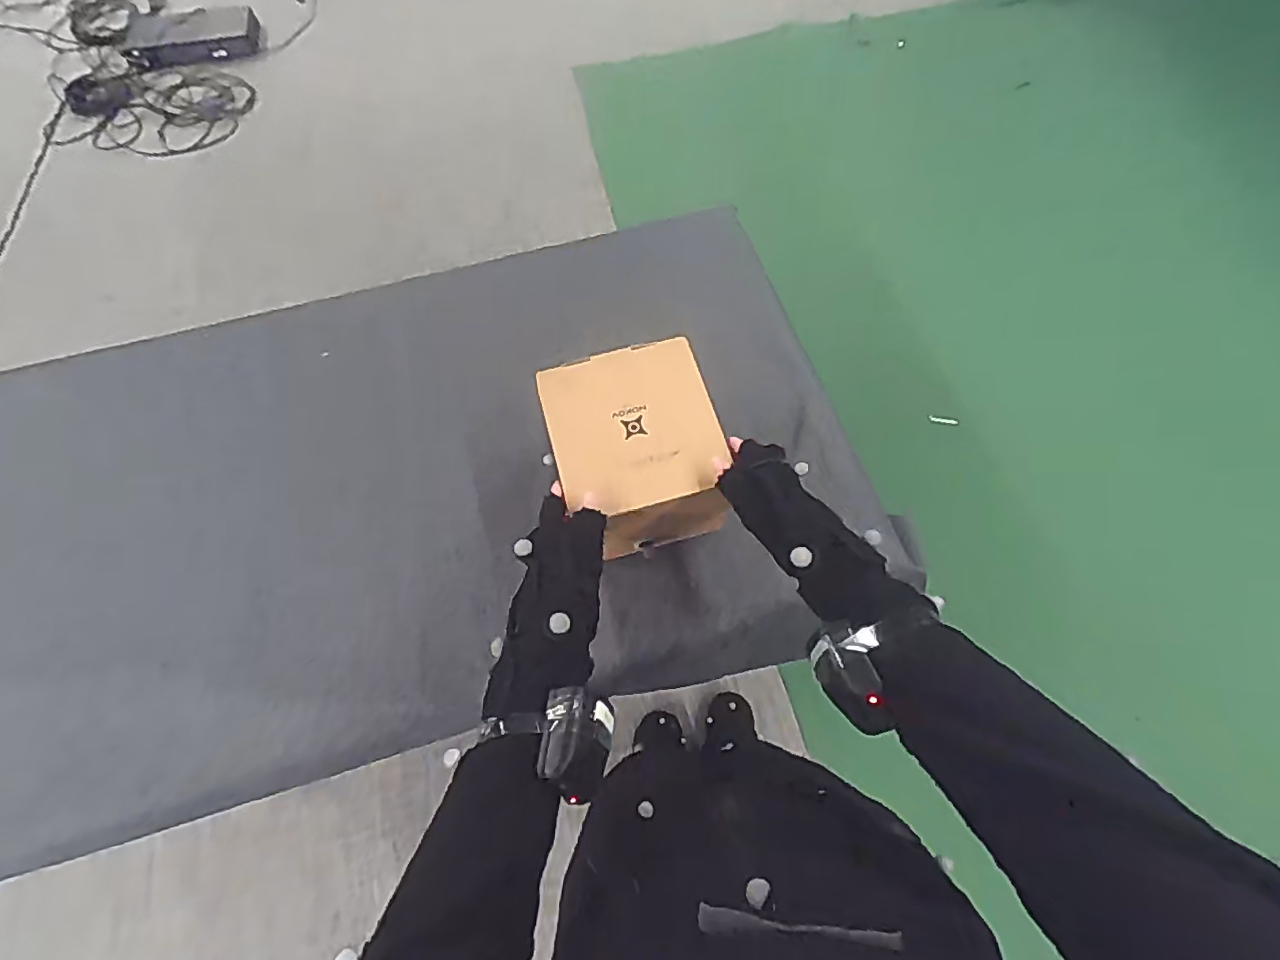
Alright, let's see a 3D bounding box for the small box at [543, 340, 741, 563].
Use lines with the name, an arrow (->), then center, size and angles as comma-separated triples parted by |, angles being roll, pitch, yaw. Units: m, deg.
small box -> -0.001, -0.023, 0.614 | 0.168, 0.176, 0.179 | -16, 70, -4
